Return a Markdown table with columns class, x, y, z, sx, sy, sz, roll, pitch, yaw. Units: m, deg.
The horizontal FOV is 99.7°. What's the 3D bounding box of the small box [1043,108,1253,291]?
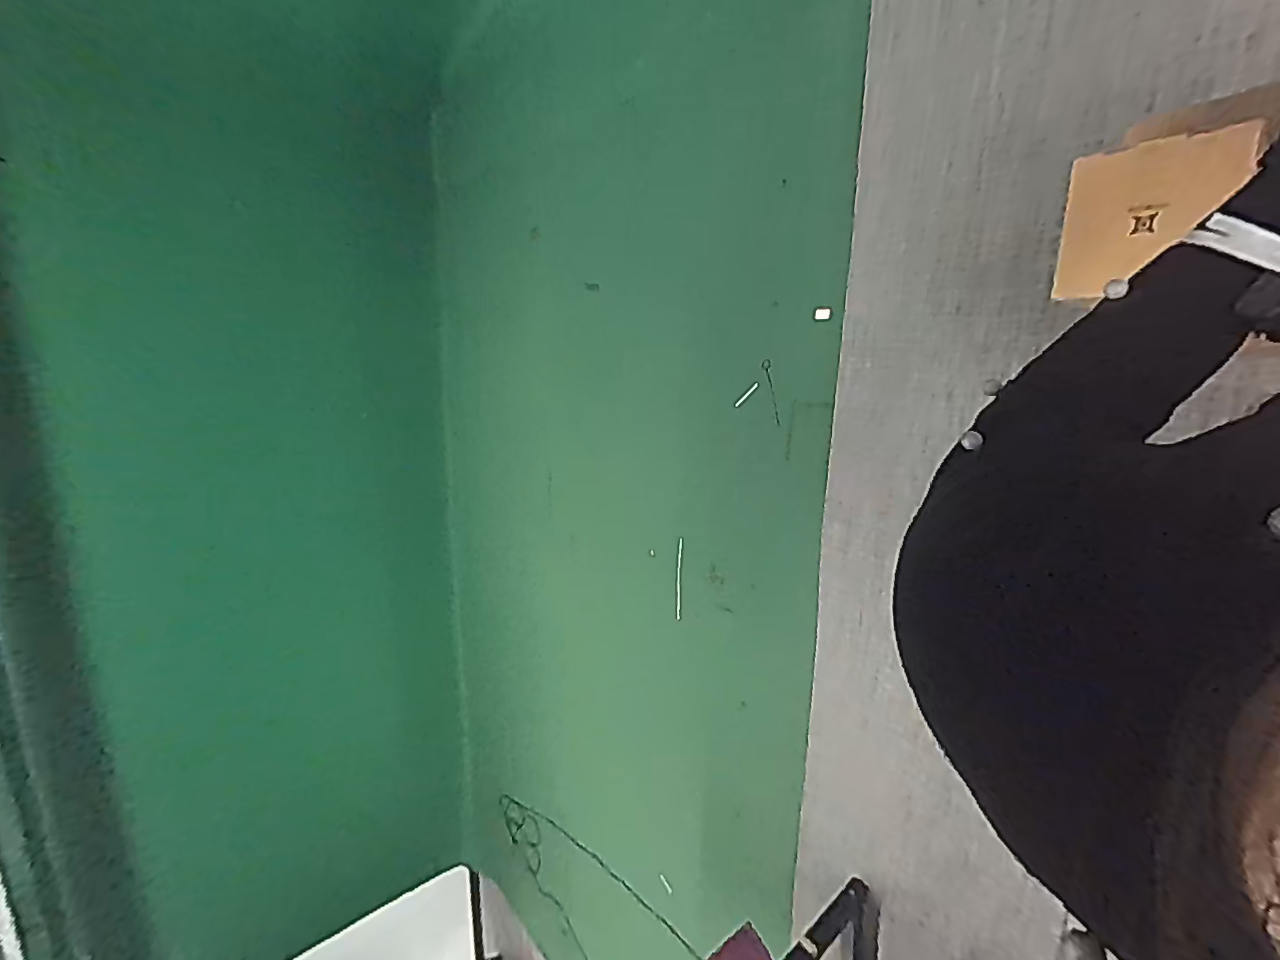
| class | x | y | z | sx | sy | sz | roll | pitch | yaw |
| --- | --- | --- | --- | --- | --- | --- | --- | --- | --- |
| small box | 0.663 | -0.345 | 0.709 | 0.168 | 0.176 | 0.179 | 15 | 110 | 46 |
